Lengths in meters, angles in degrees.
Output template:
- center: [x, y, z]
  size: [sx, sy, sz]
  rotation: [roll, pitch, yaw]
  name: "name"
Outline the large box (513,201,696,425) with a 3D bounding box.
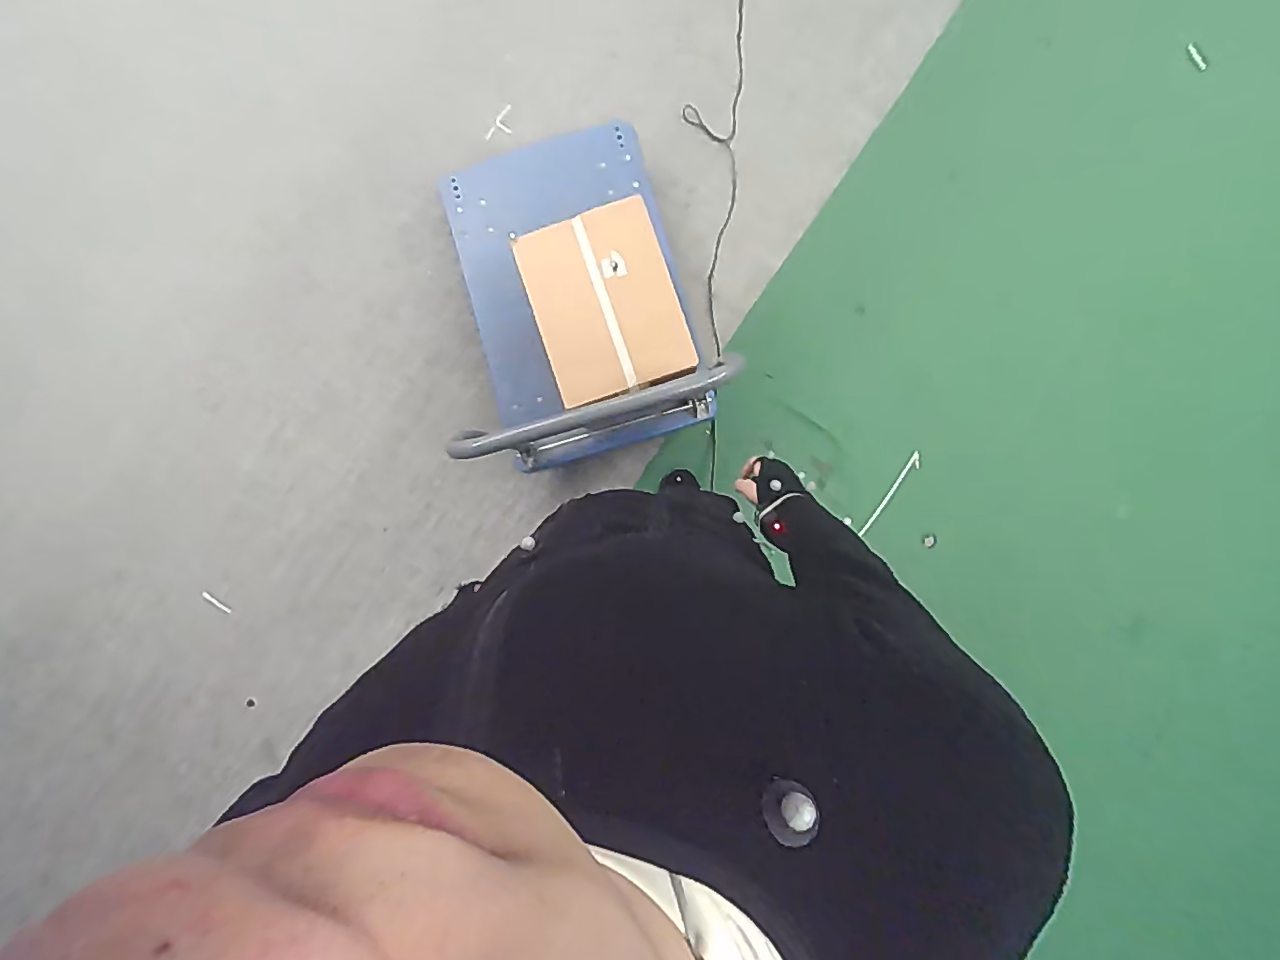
- center: [-0.074, -0.390, 1.360]
  size: [0.320, 0.320, 0.408]
  rotation: [-19, 87, 0]
  name: "large box"
